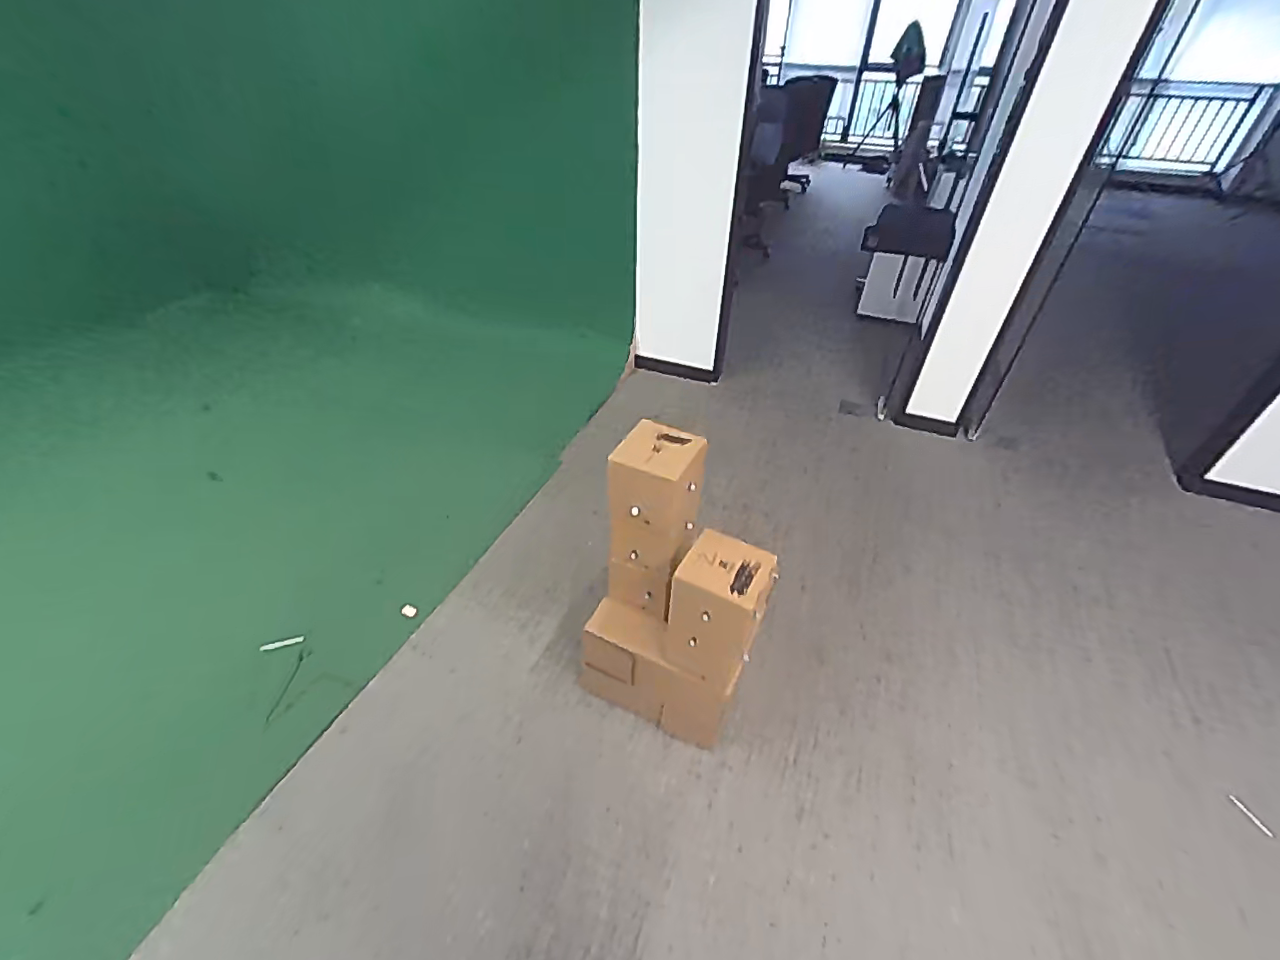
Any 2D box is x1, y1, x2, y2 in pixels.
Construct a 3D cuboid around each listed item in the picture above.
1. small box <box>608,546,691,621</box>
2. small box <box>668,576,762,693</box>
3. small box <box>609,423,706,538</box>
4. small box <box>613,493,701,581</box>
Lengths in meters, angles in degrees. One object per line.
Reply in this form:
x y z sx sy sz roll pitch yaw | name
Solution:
0.028 0.246 1.453 0.168 0.176 0.179 19 41 20 | small box
0.174 0.370 1.301 0.168 0.176 0.179 20 41 21 | small box
0.037 -0.001 1.239 0.168 0.176 0.179 19 43 20 | small box
0.038 0.118 1.351 0.168 0.176 0.179 19 43 19 | small box
